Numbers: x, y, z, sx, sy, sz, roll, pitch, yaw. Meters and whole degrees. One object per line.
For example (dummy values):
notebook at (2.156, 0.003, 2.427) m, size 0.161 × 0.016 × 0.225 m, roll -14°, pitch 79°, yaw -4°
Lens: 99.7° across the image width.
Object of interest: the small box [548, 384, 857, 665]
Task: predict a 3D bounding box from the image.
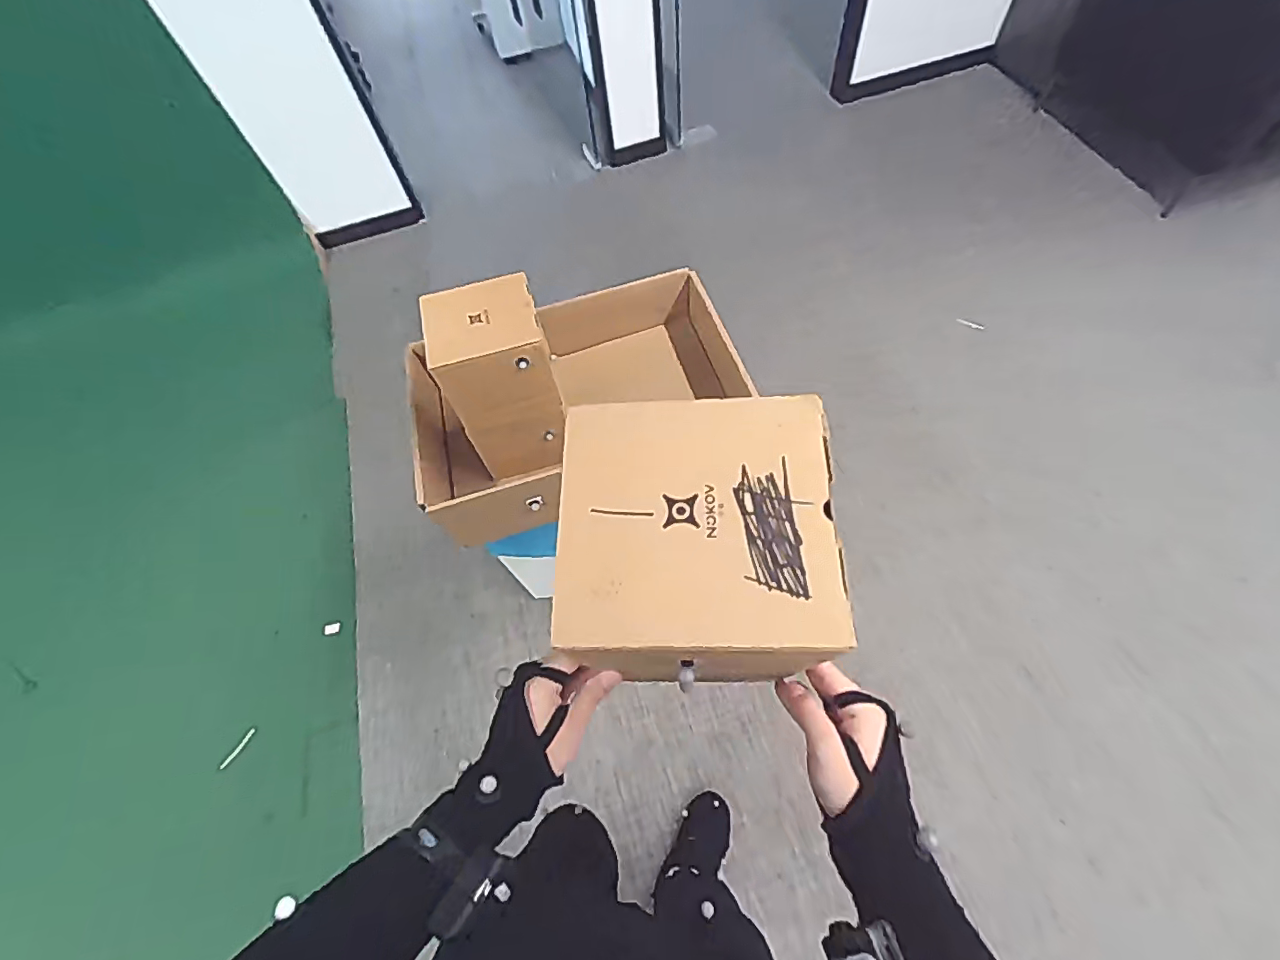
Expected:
small box at (0.042, 0.044, 0.407) m, size 0.179 × 0.176 × 0.168 m, roll -2°, pitch 65°, yaw 6°

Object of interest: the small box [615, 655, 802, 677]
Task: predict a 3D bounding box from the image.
small box at (0.059, 0.110, 0.557) m, size 0.179 × 0.176 × 0.168 m, roll -1°, pitch 66°, yaw 5°

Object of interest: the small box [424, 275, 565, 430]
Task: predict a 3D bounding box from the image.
small box at (-0.239, -0.207, 0.906) m, size 0.179 × 0.176 × 0.168 m, roll -16°, pitch 59°, yaw -5°
